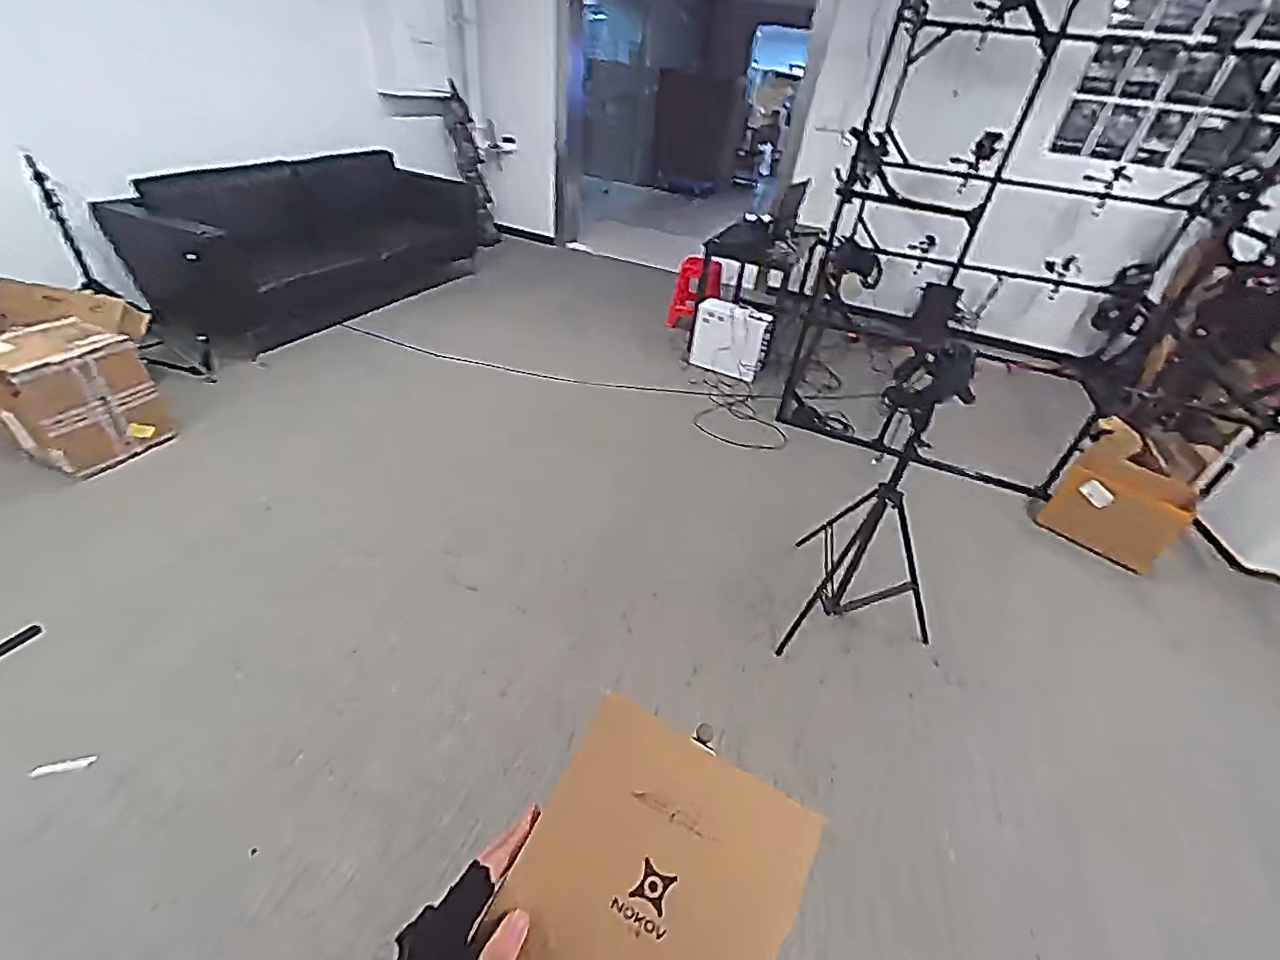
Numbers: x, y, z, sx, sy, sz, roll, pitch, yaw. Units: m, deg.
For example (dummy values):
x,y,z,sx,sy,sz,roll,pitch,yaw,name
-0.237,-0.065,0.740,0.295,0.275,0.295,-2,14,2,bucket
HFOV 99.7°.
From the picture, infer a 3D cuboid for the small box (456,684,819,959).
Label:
x,y,z,sx,sy,sz,roll,pitch,yaw,name
0.001,0.272,0.401,0.168,0.176,0.179,28,70,7,small box
